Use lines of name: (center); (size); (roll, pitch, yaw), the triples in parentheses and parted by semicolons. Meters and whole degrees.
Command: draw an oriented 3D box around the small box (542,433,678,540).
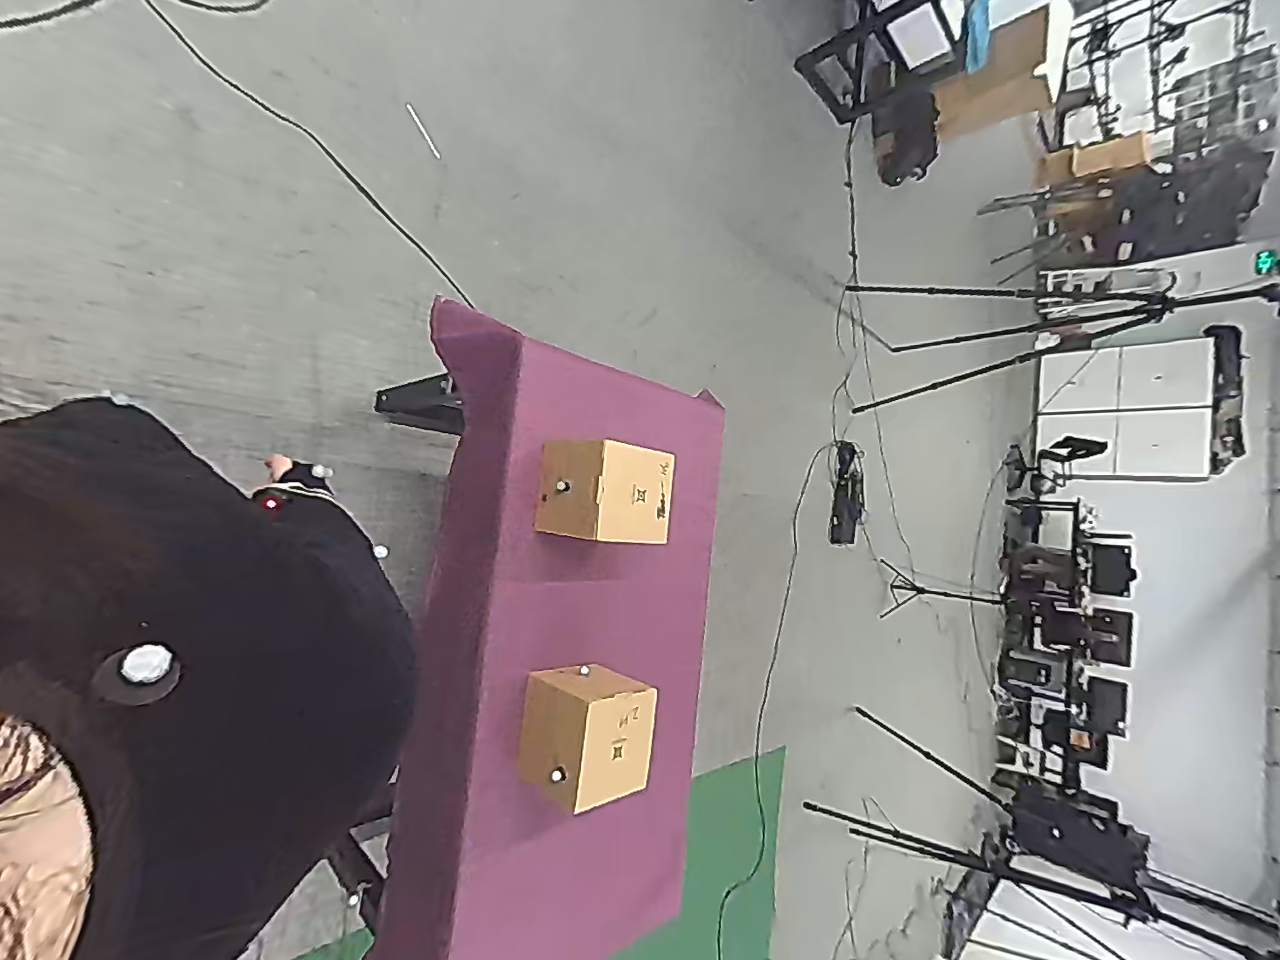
small box: (-0.056, 0.014, 0.972); (0.179, 0.176, 0.168); (10, 86, -44)

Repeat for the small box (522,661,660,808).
small box: (-0.090, 0.435, 0.957); (0.168, 0.176, 0.179); (12, 83, -45)
